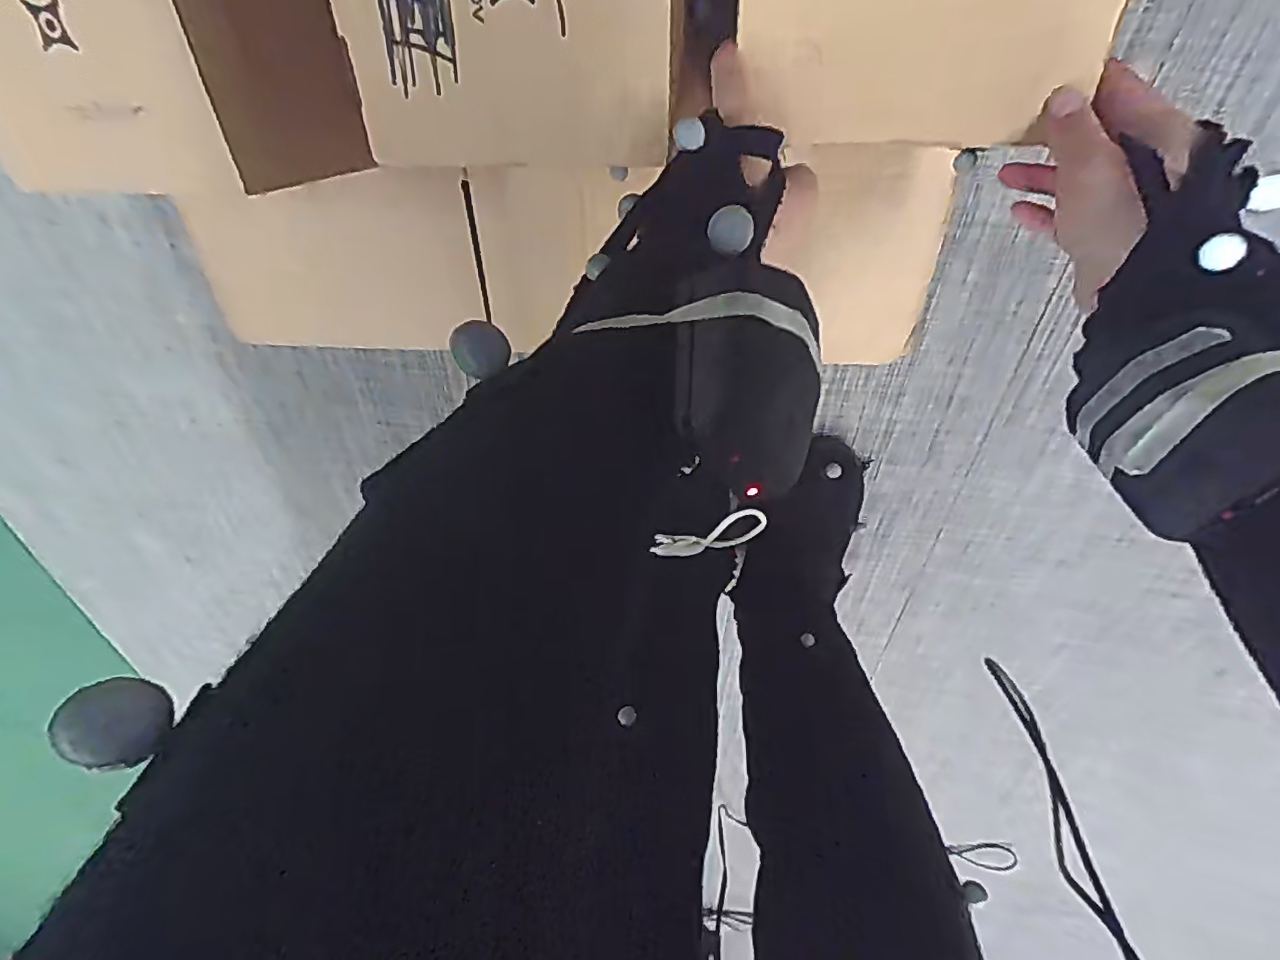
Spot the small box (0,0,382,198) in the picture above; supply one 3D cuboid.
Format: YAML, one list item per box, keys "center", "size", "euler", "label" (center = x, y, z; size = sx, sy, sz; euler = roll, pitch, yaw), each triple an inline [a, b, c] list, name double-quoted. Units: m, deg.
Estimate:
- center: [-0.308, -0.300, 0.362]
  size: [0.168, 0.176, 0.179]
  euler: [4, 127, 7]
  label: "small box"
